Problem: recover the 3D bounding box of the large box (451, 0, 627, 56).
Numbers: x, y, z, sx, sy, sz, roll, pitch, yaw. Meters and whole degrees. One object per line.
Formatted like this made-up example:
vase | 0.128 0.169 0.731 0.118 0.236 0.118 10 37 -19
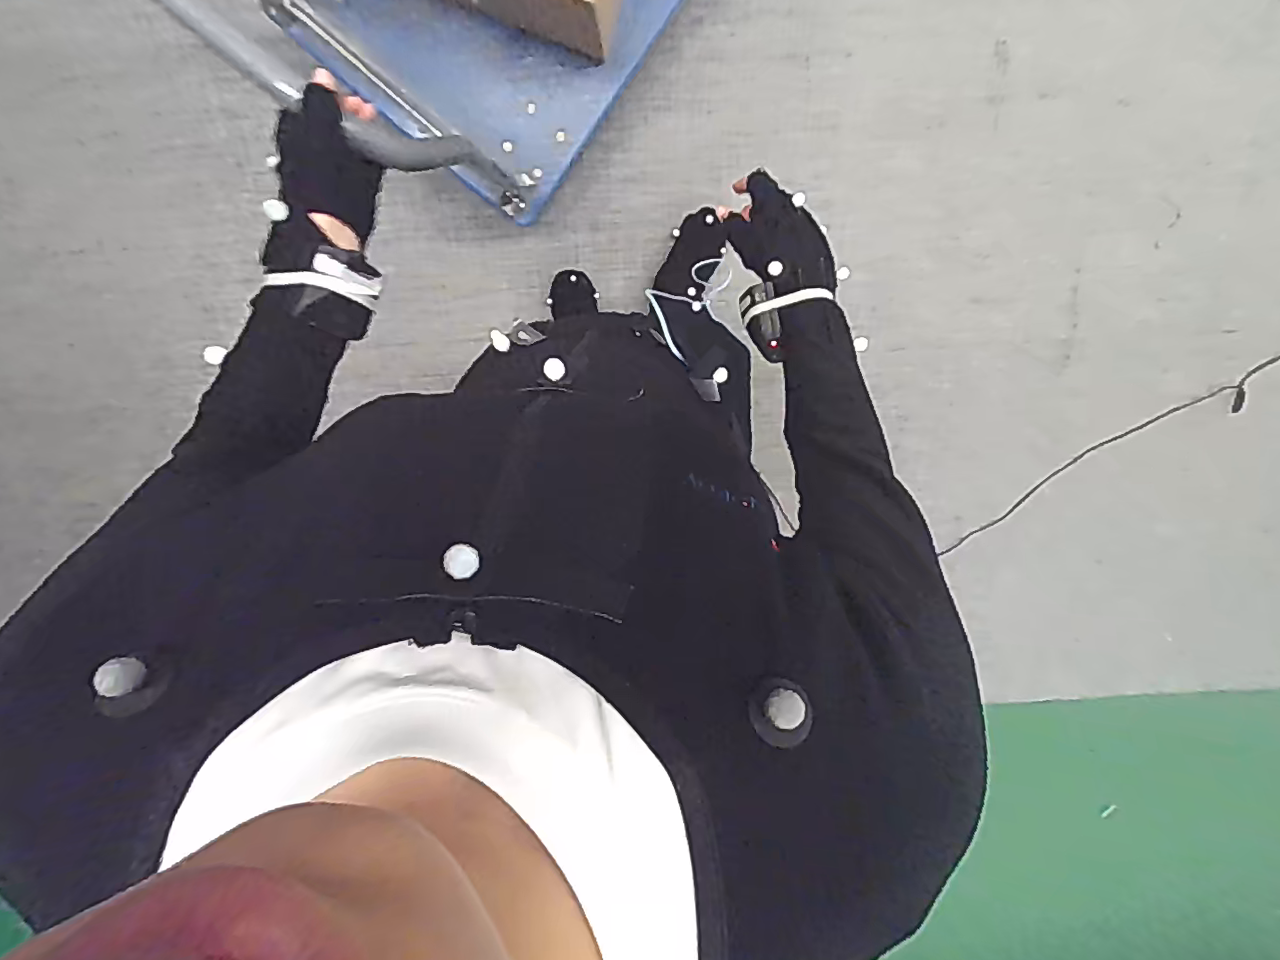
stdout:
large box | -0.195 -0.887 0.775 0.408 0.320 0.320 16 114 -7
